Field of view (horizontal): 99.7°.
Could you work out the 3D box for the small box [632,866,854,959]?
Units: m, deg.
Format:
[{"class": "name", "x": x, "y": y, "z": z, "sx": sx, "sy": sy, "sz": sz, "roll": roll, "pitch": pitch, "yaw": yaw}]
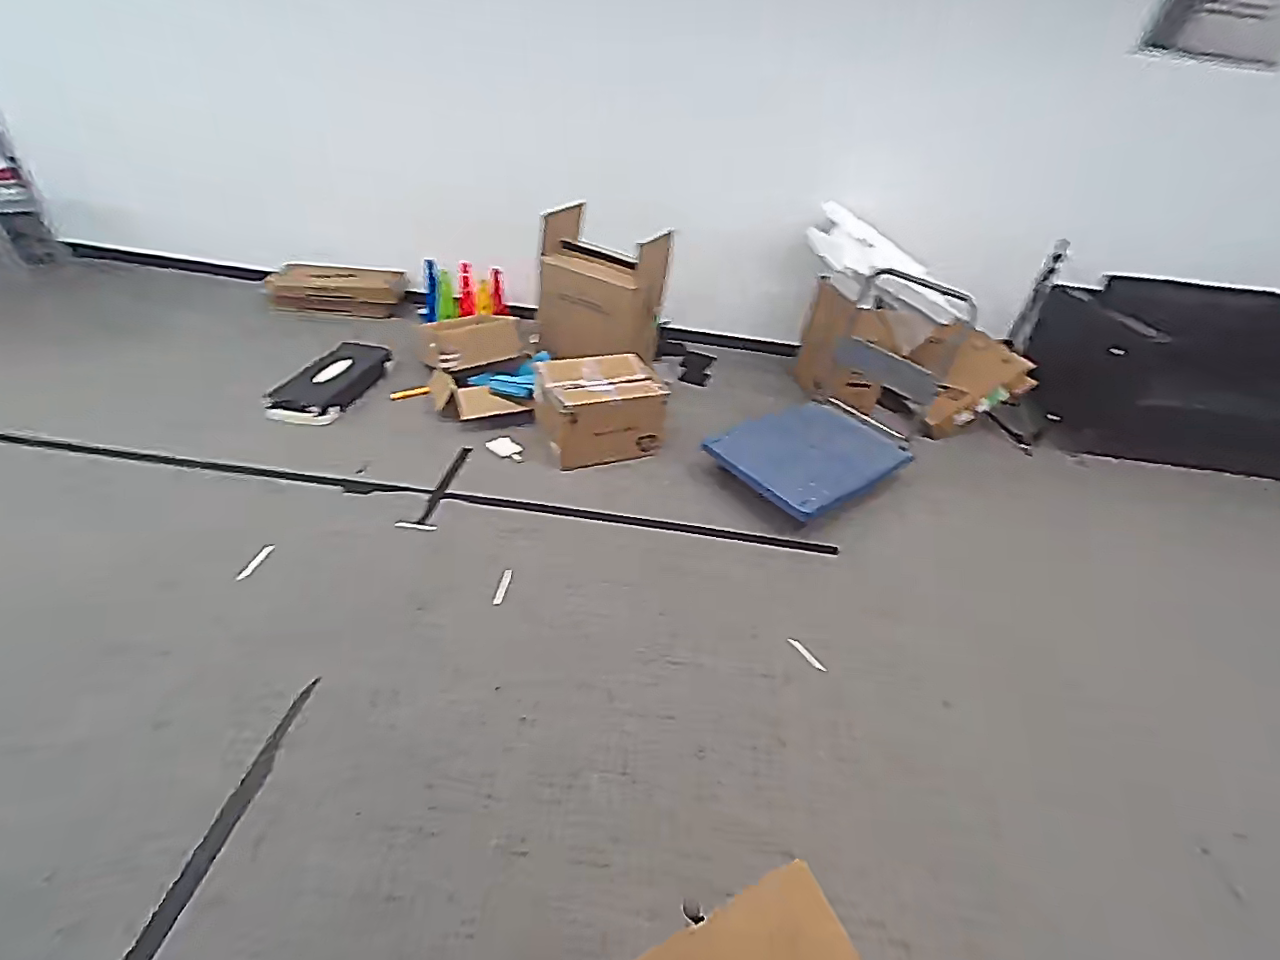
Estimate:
[{"class": "small box", "x": 0.055, "y": 0.388, "z": 0.342, "sx": 0.179, "sy": 0.176, "sz": 0.168, "roll": -15, "pitch": 50, "yaw": -23}]
